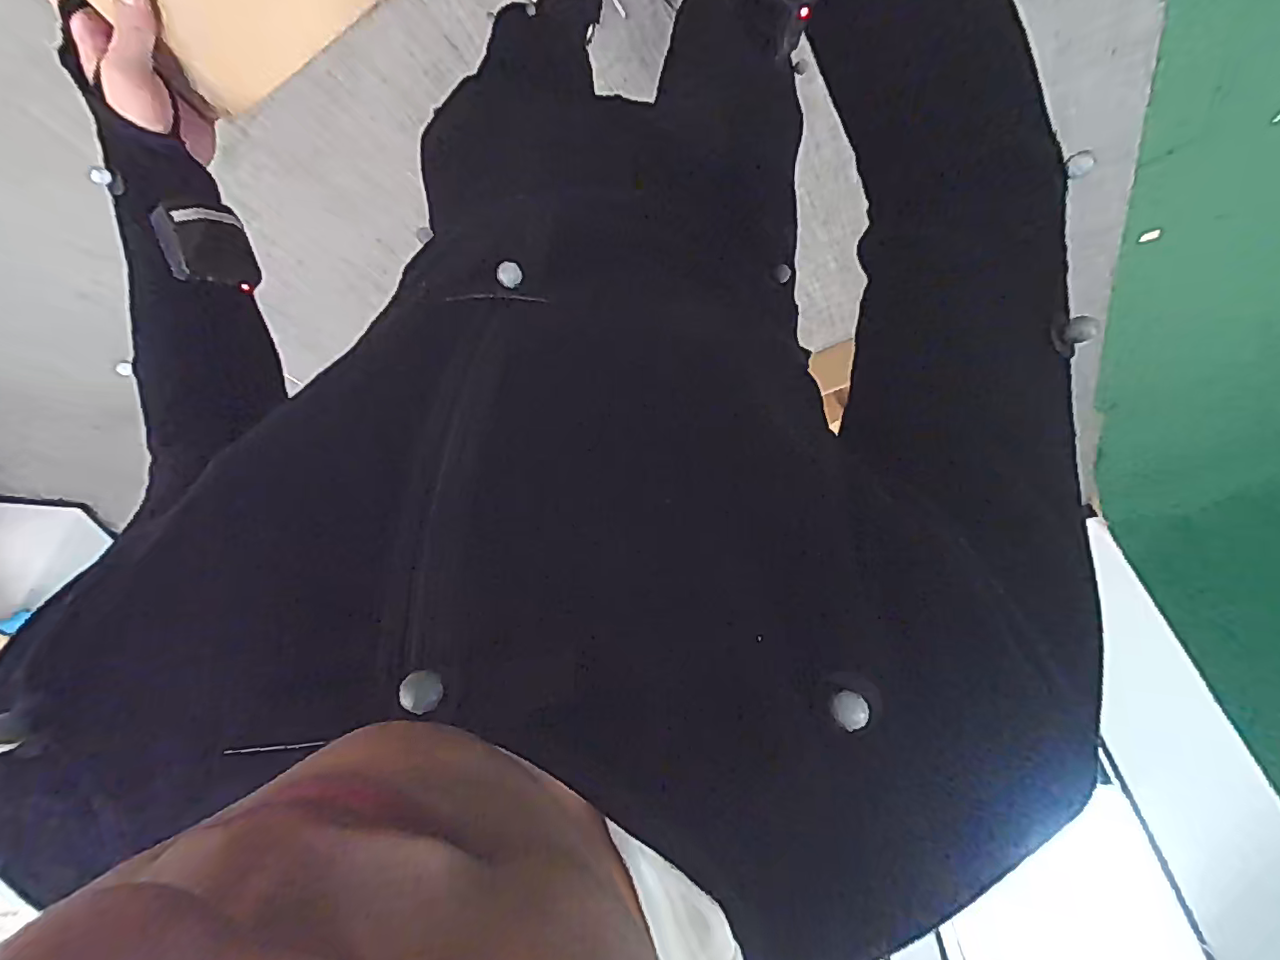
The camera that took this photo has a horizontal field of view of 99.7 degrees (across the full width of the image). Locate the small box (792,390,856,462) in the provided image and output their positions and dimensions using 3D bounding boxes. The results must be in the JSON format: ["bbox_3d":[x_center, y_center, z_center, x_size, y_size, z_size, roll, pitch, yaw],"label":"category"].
[{"bbox_3d":[0.686,-0.203,2.035,0.179,0.176,0.168,-24,139,26],"label":"small box"}]
